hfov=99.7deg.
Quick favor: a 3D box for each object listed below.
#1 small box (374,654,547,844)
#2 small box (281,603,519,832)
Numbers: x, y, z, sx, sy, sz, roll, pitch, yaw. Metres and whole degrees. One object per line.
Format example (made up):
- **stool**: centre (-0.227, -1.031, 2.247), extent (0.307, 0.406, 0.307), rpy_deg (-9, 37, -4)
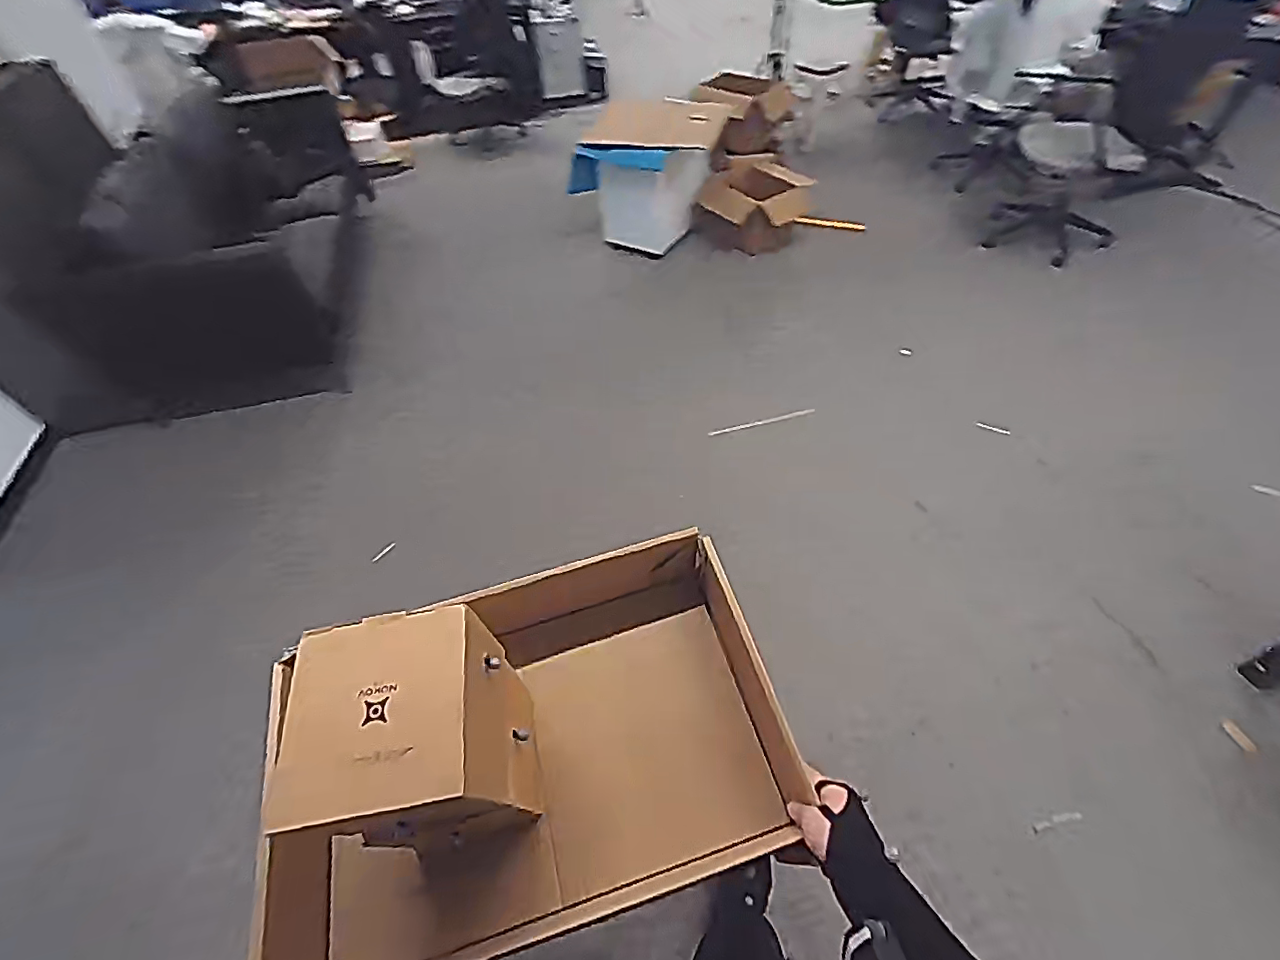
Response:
- **small box**: centre (-0.220, 0.349, 0.695), extent (0.168, 0.176, 0.179), rpy_deg (-11, 57, -6)
- **small box**: centre (-0.227, 0.251, 0.565), extent (0.168, 0.176, 0.179), rpy_deg (-8, 56, -3)
